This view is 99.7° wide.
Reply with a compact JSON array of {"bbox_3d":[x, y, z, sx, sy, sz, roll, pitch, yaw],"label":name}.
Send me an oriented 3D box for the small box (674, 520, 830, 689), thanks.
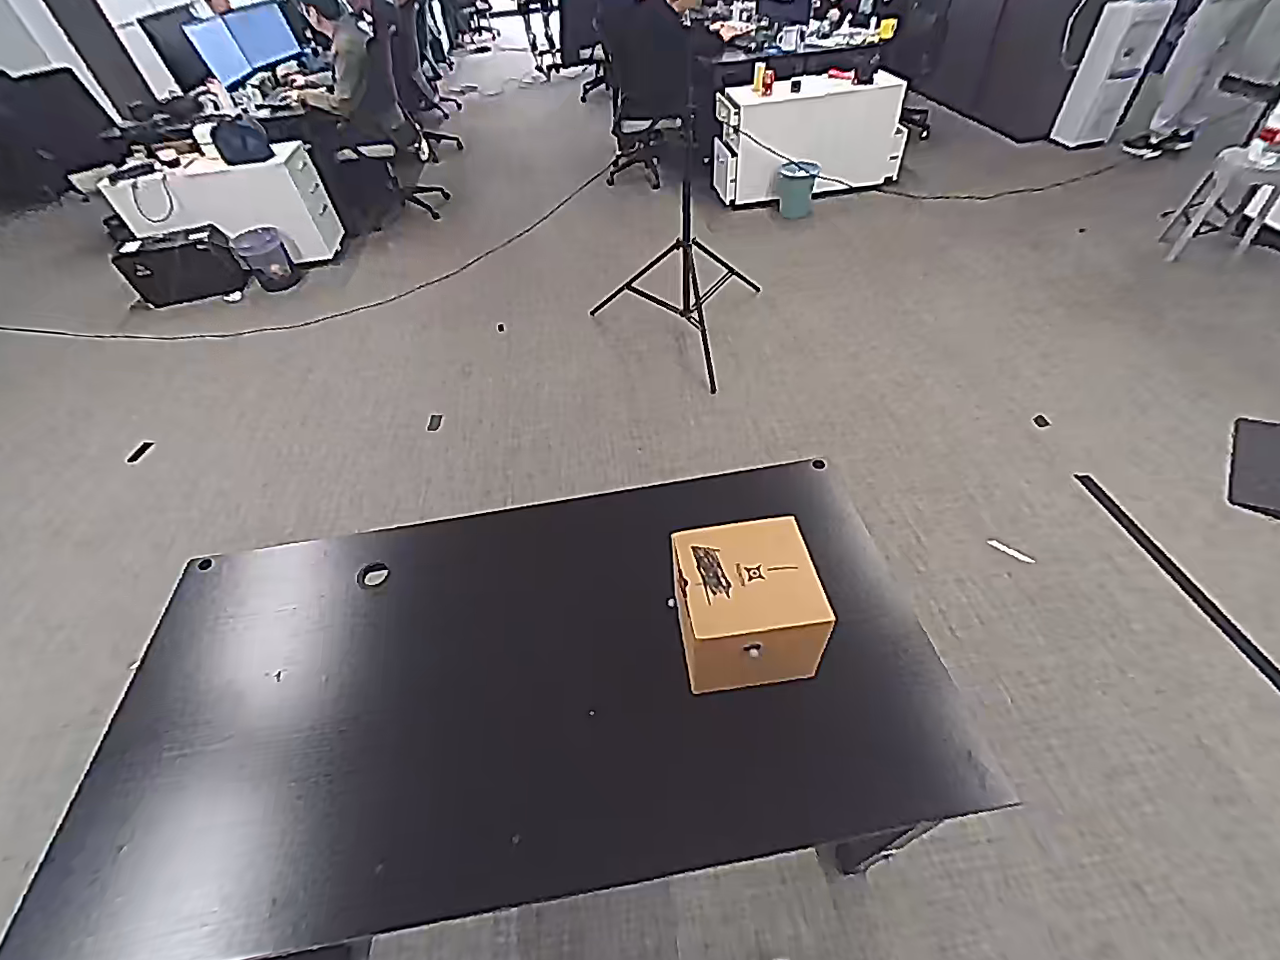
[{"bbox_3d":[0.148,0.181,0.772,0.179,0.176,0.168,-7,47,-2],"label":"small box"}]
